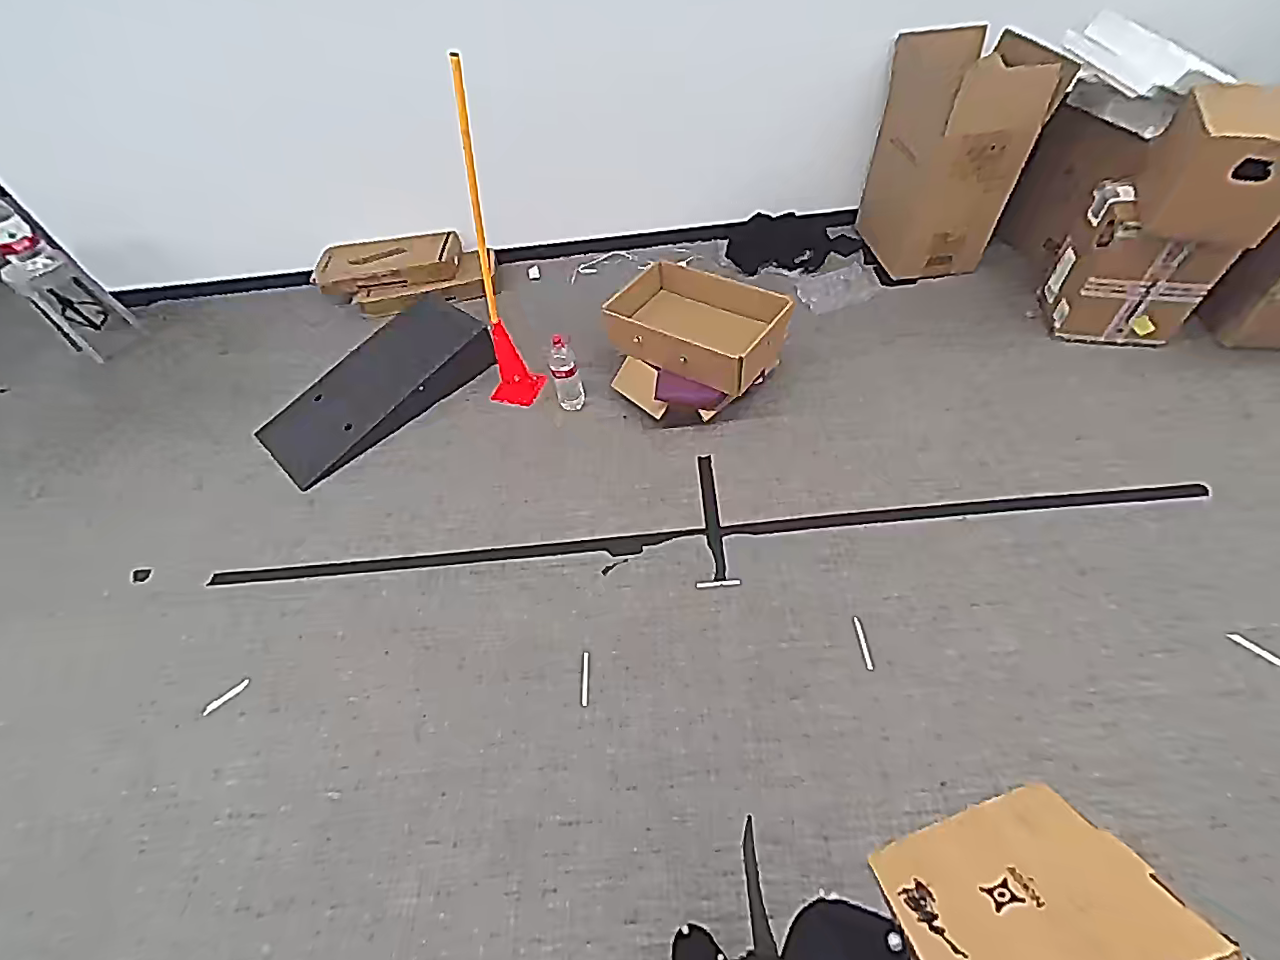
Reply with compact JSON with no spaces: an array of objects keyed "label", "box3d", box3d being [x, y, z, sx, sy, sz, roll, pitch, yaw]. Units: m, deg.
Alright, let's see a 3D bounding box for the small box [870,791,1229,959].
[{"label":"small box","box3d":[0.321,0.398,0.424,0.179,0.168,0.176,-24,92,2]}]
